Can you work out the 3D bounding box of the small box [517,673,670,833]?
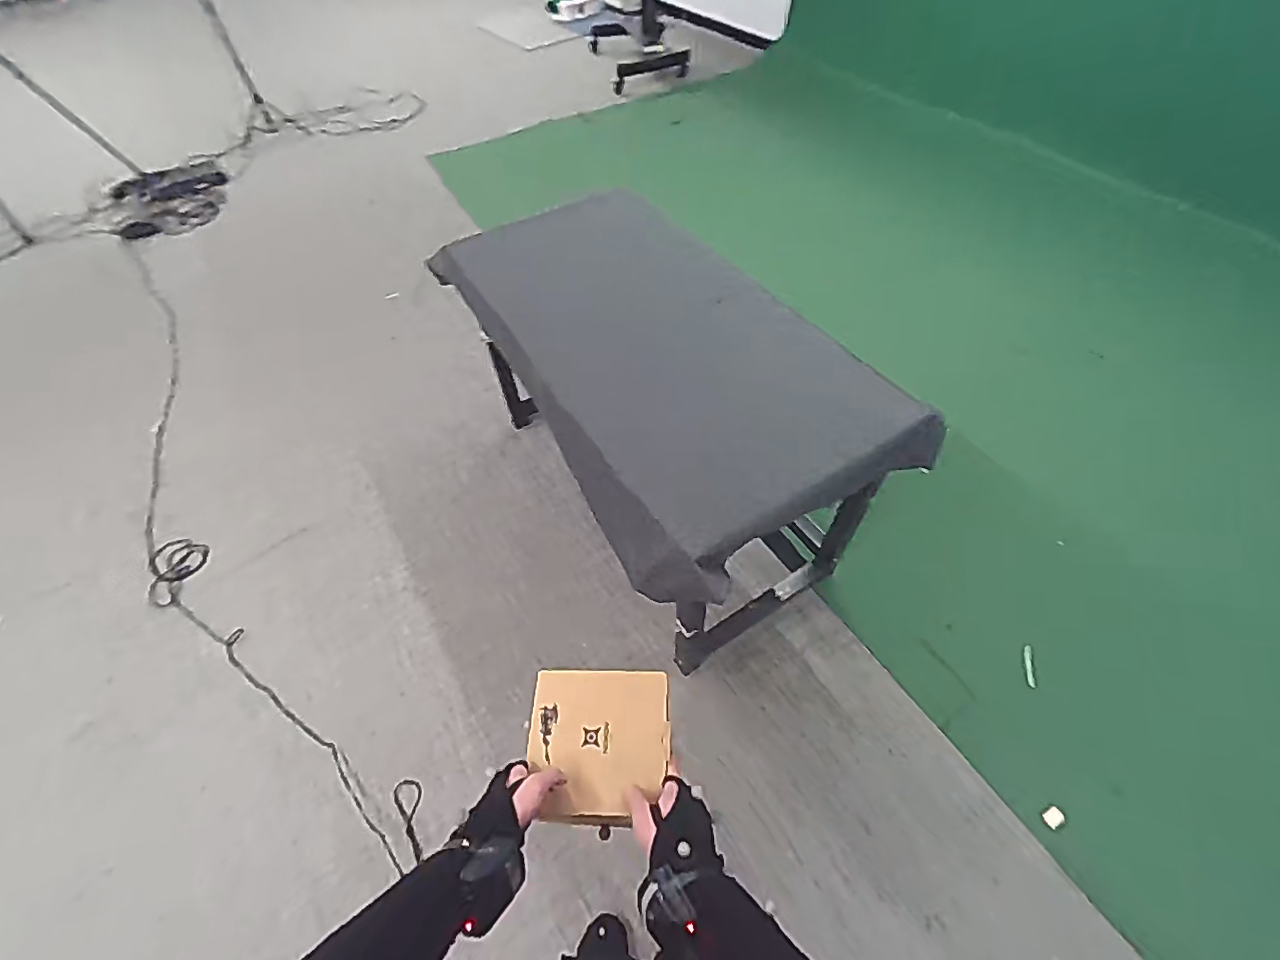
[{"bbox_3d":[-0.050,0.372,0.731,0.179,0.176,0.168,1,53,3],"label":"small box"}]
